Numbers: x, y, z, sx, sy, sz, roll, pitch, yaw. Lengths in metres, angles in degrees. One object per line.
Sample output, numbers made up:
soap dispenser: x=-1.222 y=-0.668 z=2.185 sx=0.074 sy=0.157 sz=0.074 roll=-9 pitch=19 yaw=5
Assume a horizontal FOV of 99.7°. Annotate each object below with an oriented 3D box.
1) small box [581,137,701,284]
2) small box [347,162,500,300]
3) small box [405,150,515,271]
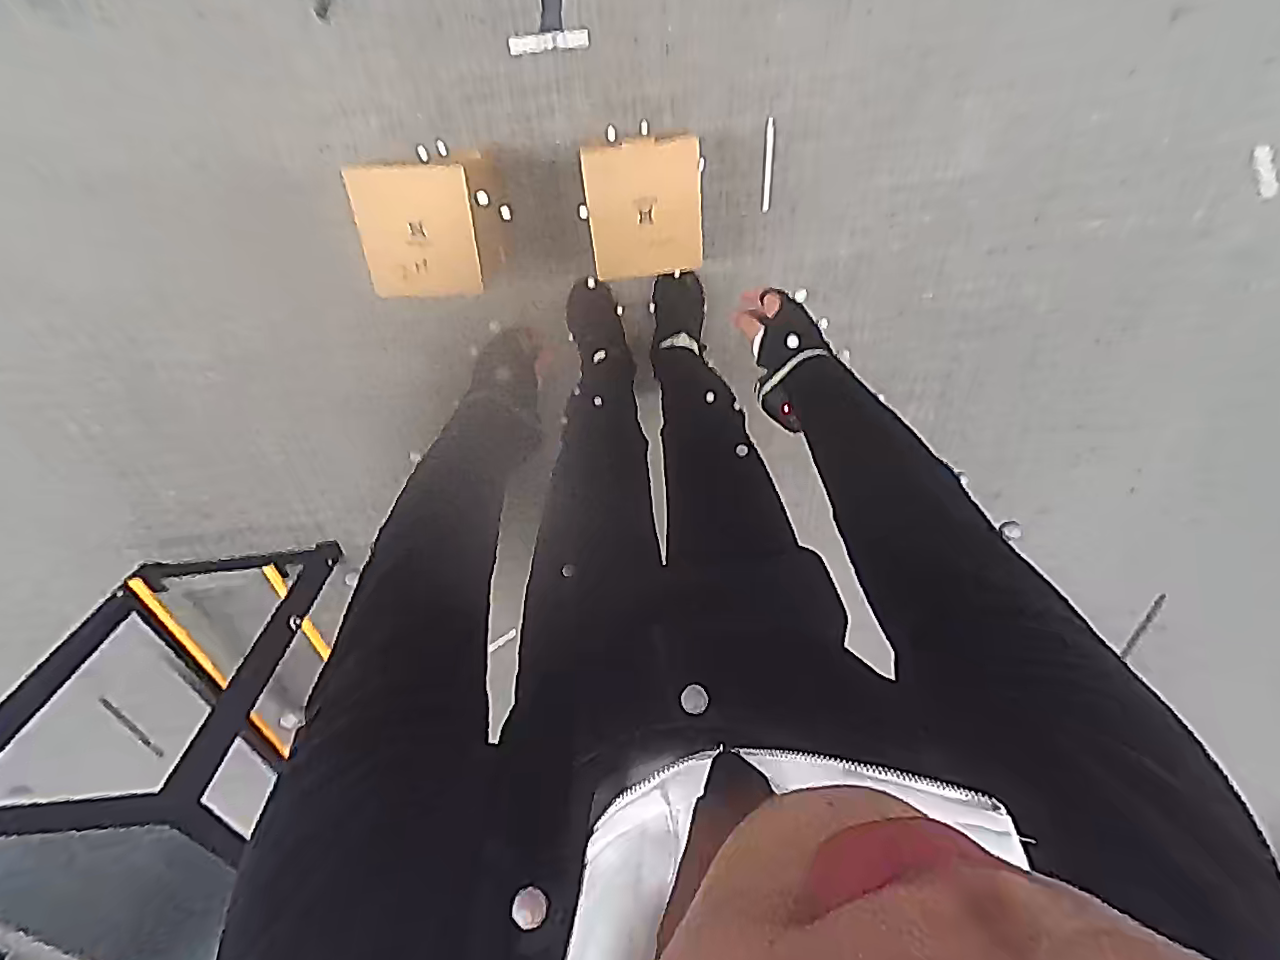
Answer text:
small box: x=0.002 y=-0.430 z=0.853 sx=0.168 sy=0.176 sz=0.179 roll=-6 pitch=127 yaw=2
small box: x=-0.325 y=-0.395 z=0.850 sx=0.168 sy=0.176 sz=0.179 roll=-1 pitch=125 yaw=-2
small box: x=-0.334 y=-0.488 z=0.988 sx=0.168 sy=0.176 sz=0.179 roll=-6 pitch=126 yaw=1
